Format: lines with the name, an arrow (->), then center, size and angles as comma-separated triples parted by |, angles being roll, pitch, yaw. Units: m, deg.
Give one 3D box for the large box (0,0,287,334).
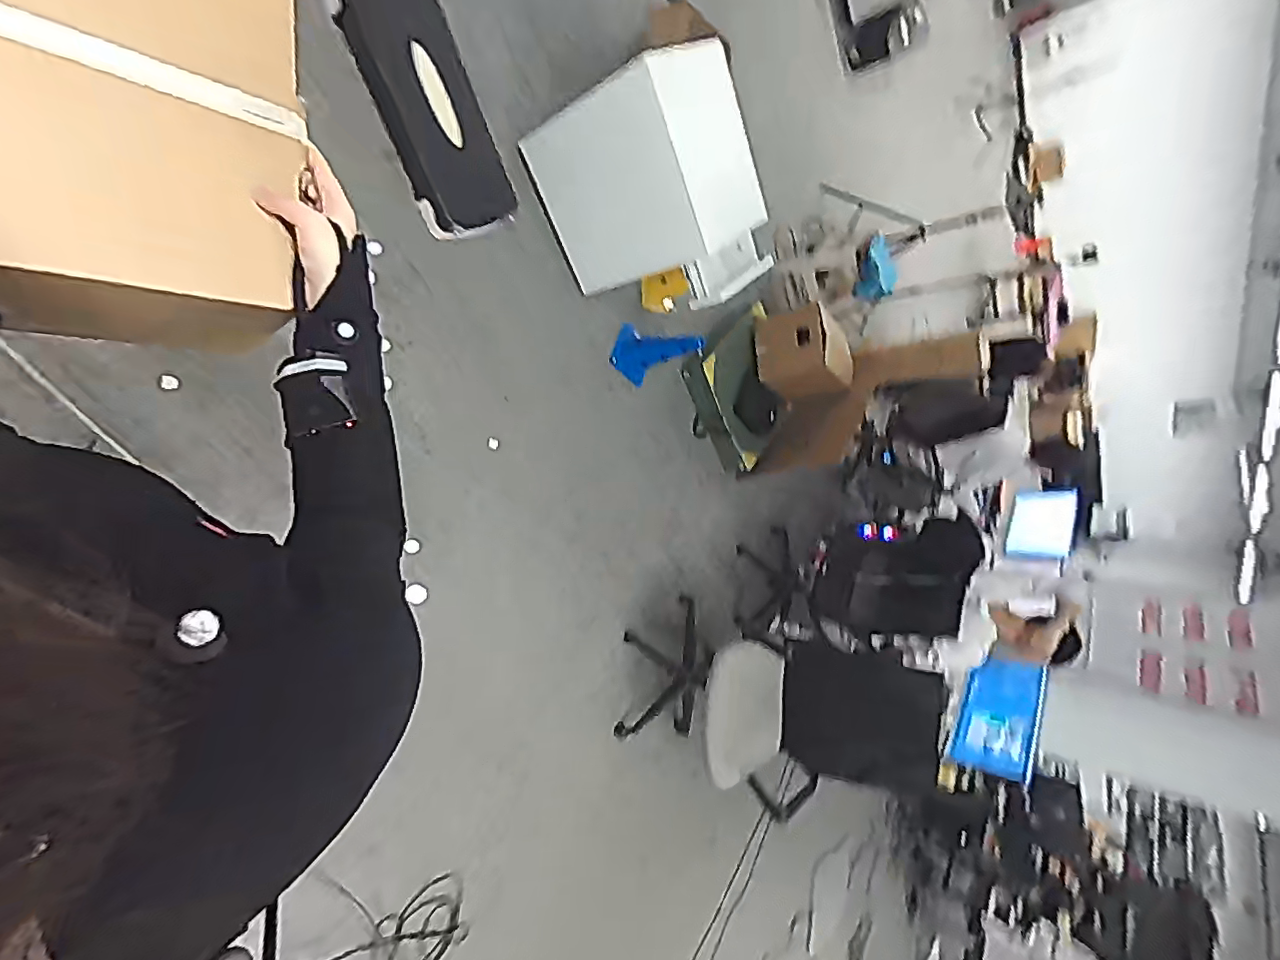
large box -> -0.561, -0.310, 0.444 | 0.408, 0.320, 0.320 | -5, 96, -43
